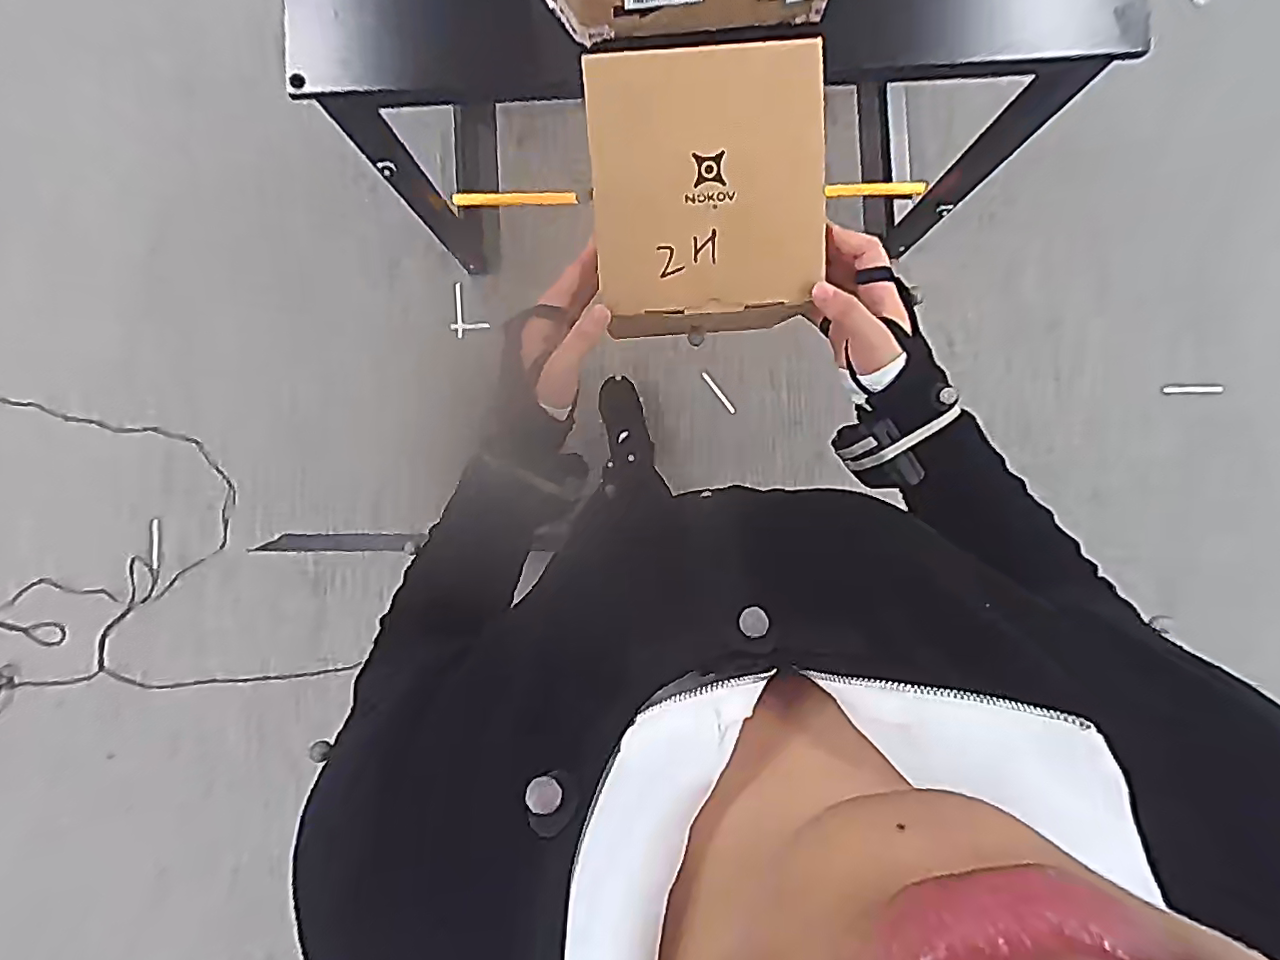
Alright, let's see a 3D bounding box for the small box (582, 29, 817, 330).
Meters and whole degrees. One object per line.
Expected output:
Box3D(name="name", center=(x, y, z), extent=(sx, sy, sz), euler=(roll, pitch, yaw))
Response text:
Box3D(name="small box", center=(0.043, -0.233, 0.463), extent=(0.168, 0.176, 0.179), euler=(-3, 99, 1))
